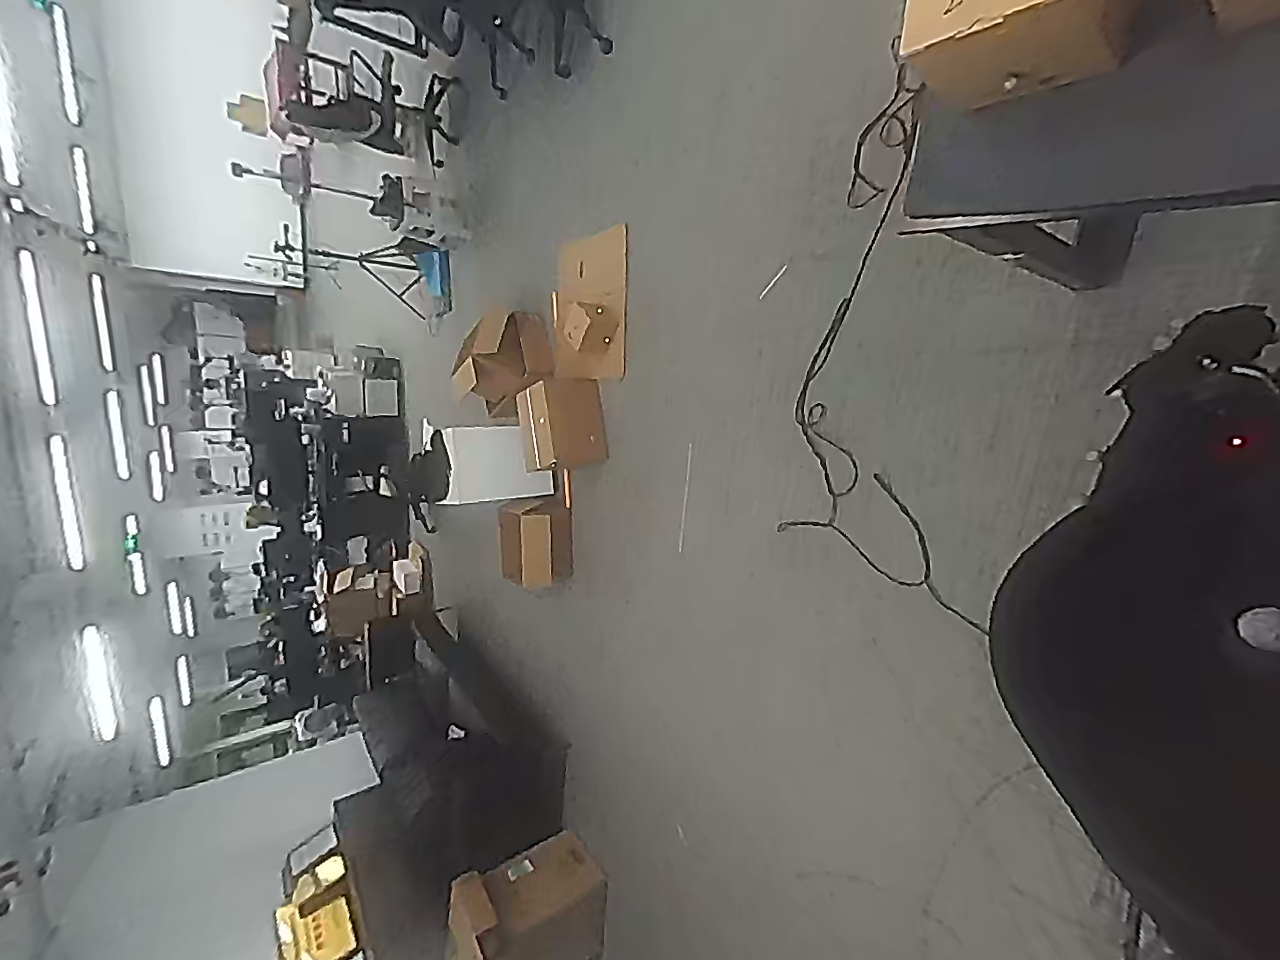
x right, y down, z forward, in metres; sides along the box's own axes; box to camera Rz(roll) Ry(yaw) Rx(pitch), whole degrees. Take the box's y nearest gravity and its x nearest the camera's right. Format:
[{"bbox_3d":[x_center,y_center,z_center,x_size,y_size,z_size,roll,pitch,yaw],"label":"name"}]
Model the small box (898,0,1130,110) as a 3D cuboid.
[{"bbox_3d":[0.409,-0.541,0.577,0.168,0.176,0.179,18,108,49],"label":"small box"}]
